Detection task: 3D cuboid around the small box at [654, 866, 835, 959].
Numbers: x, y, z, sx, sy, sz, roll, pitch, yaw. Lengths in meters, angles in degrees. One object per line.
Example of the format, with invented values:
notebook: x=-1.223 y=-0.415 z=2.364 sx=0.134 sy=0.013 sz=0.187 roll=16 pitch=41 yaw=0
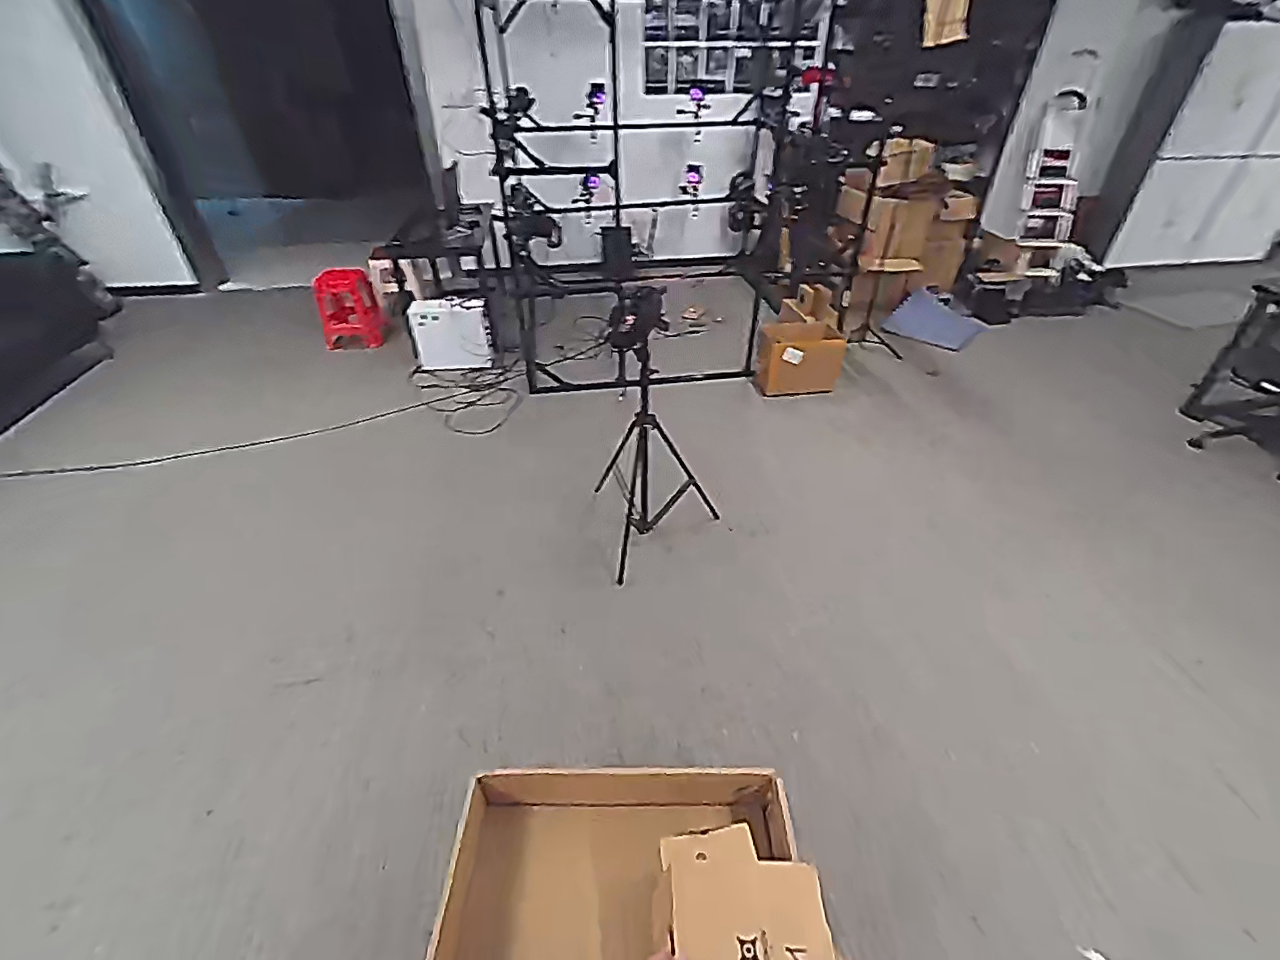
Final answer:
small box: x=0.109 y=0.558 z=0.604 sx=0.179 sy=0.176 sz=0.168 roll=6 pitch=38 yaw=-5
